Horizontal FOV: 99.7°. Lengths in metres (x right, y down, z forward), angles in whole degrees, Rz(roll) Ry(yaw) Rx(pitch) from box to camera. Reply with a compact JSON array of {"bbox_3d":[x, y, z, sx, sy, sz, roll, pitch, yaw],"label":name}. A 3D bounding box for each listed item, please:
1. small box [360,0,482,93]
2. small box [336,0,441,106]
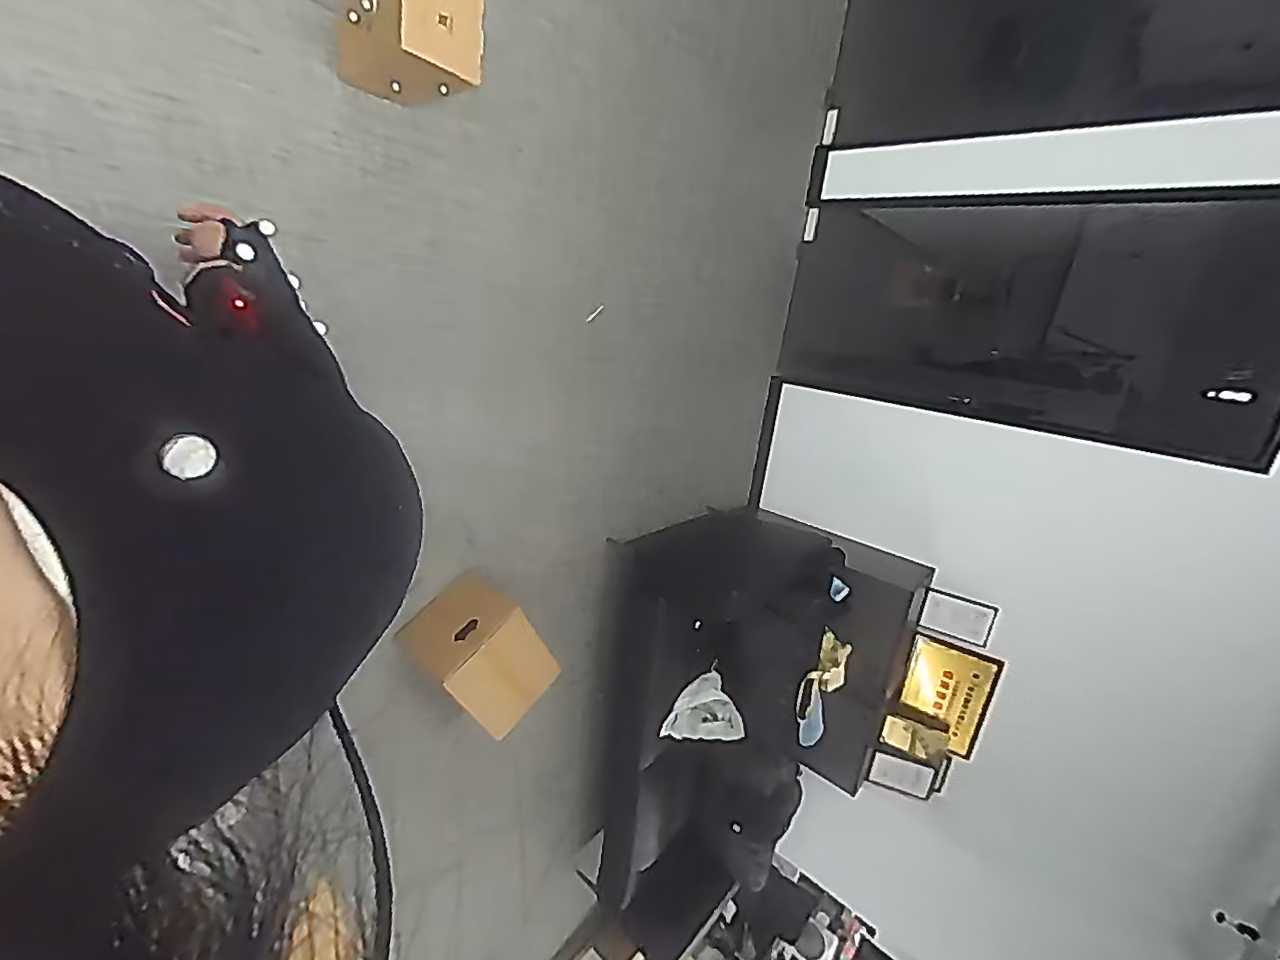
[{"bbox_3d":[-0.451,-0.927,1.114,0.179,0.176,0.168,-11,114,-48],"label":"small box"},{"bbox_3d":[-0.566,-0.981,1.217,0.168,0.176,0.179,-11,115,-48],"label":"small box"}]
